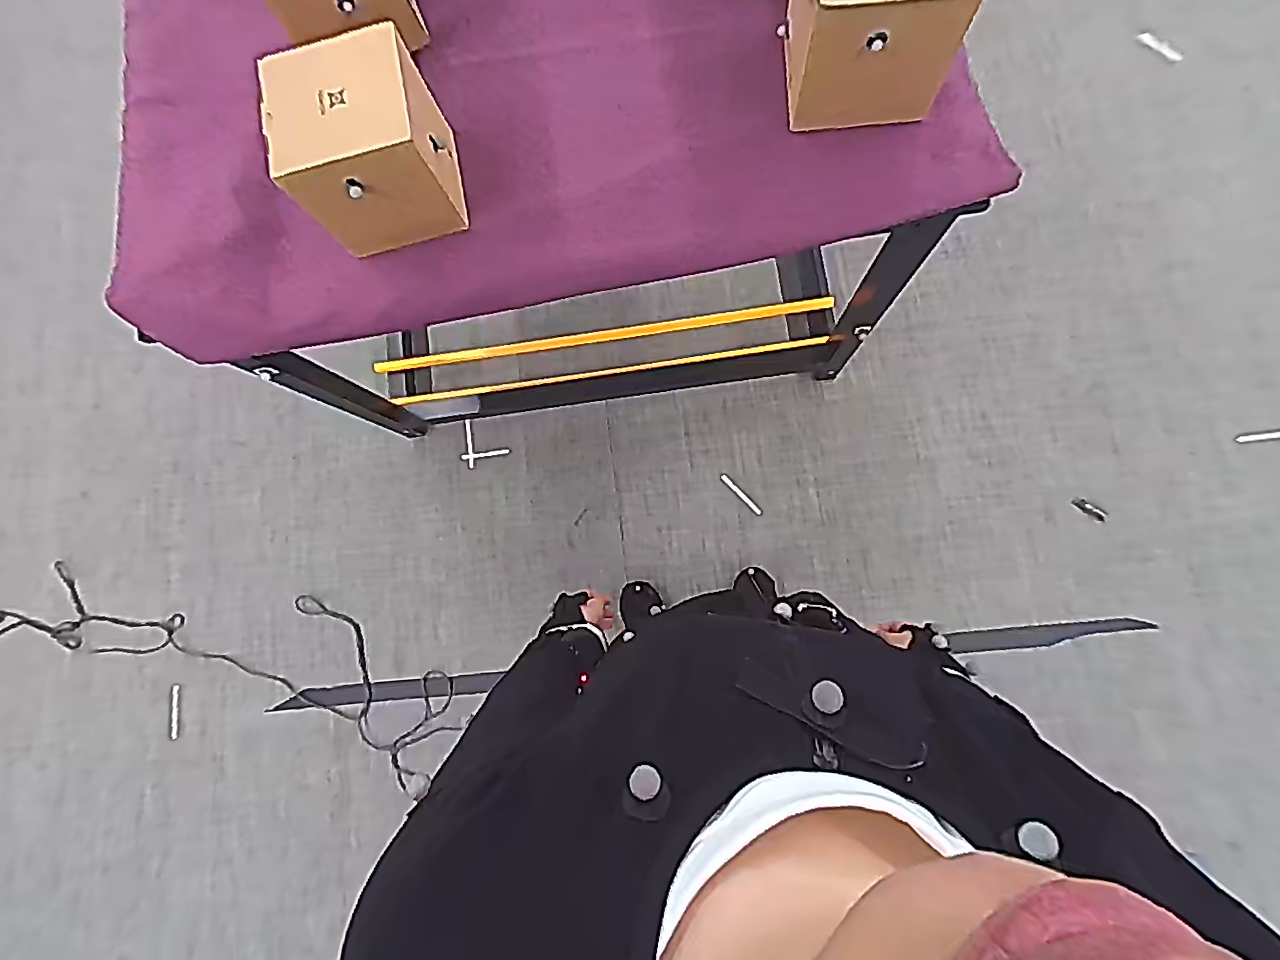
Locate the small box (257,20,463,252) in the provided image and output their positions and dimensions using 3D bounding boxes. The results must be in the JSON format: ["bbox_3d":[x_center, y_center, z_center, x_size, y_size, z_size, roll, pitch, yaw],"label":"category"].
[{"bbox_3d":[-0.347,-0.430,0.703,0.179,0.176,0.168,-13,81,4],"label":"small box"}]

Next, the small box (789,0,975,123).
[{"bbox_3d":[0.282,-0.573,0.659,0.179,0.176,0.168,-2,81,5],"label":"small box"}]
